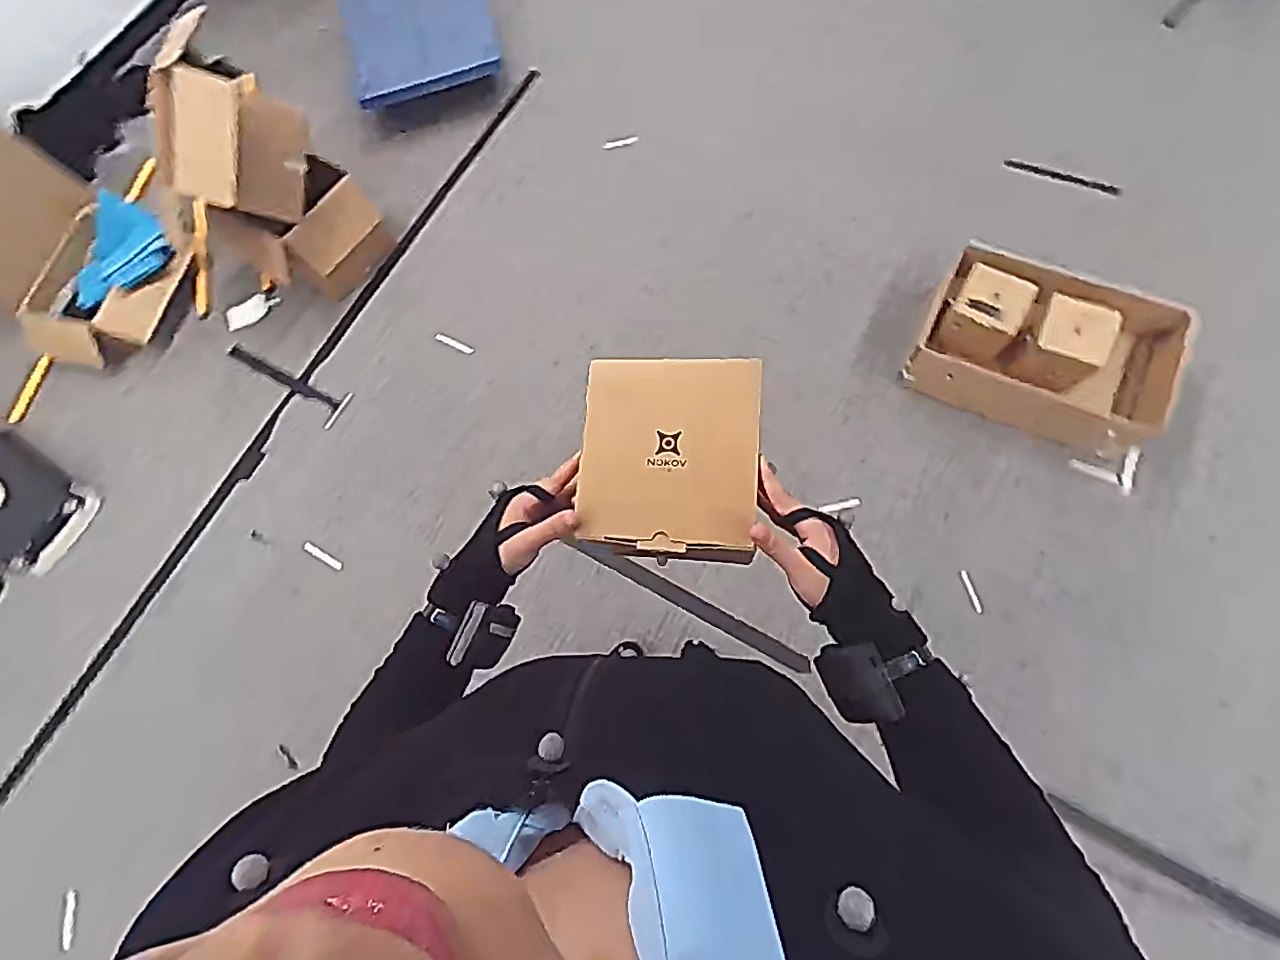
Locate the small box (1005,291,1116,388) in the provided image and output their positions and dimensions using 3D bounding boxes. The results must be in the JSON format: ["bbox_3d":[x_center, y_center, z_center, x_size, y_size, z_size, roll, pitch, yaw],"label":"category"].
[{"bbox_3d":[1.150,-0.381,1.495,0.168,0.176,0.179,24,77,13],"label":"small box"}]
